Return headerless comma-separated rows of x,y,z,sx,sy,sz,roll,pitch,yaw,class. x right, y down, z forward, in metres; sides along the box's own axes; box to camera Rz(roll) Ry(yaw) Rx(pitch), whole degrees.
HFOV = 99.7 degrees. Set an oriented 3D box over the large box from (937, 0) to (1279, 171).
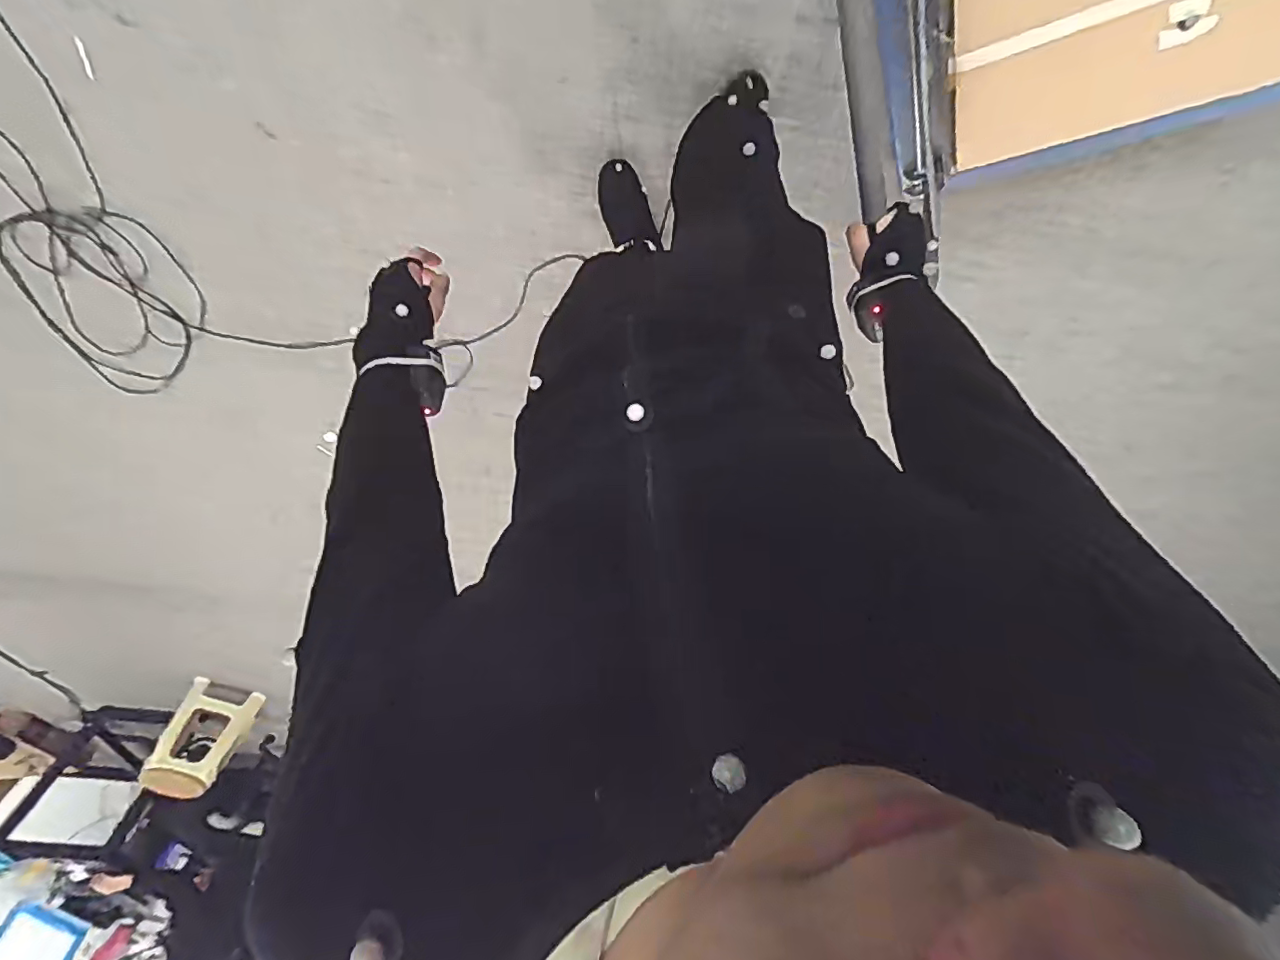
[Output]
0.694,-0.738,0.825,0.408,0.320,0.320,-5,130,27,large box
